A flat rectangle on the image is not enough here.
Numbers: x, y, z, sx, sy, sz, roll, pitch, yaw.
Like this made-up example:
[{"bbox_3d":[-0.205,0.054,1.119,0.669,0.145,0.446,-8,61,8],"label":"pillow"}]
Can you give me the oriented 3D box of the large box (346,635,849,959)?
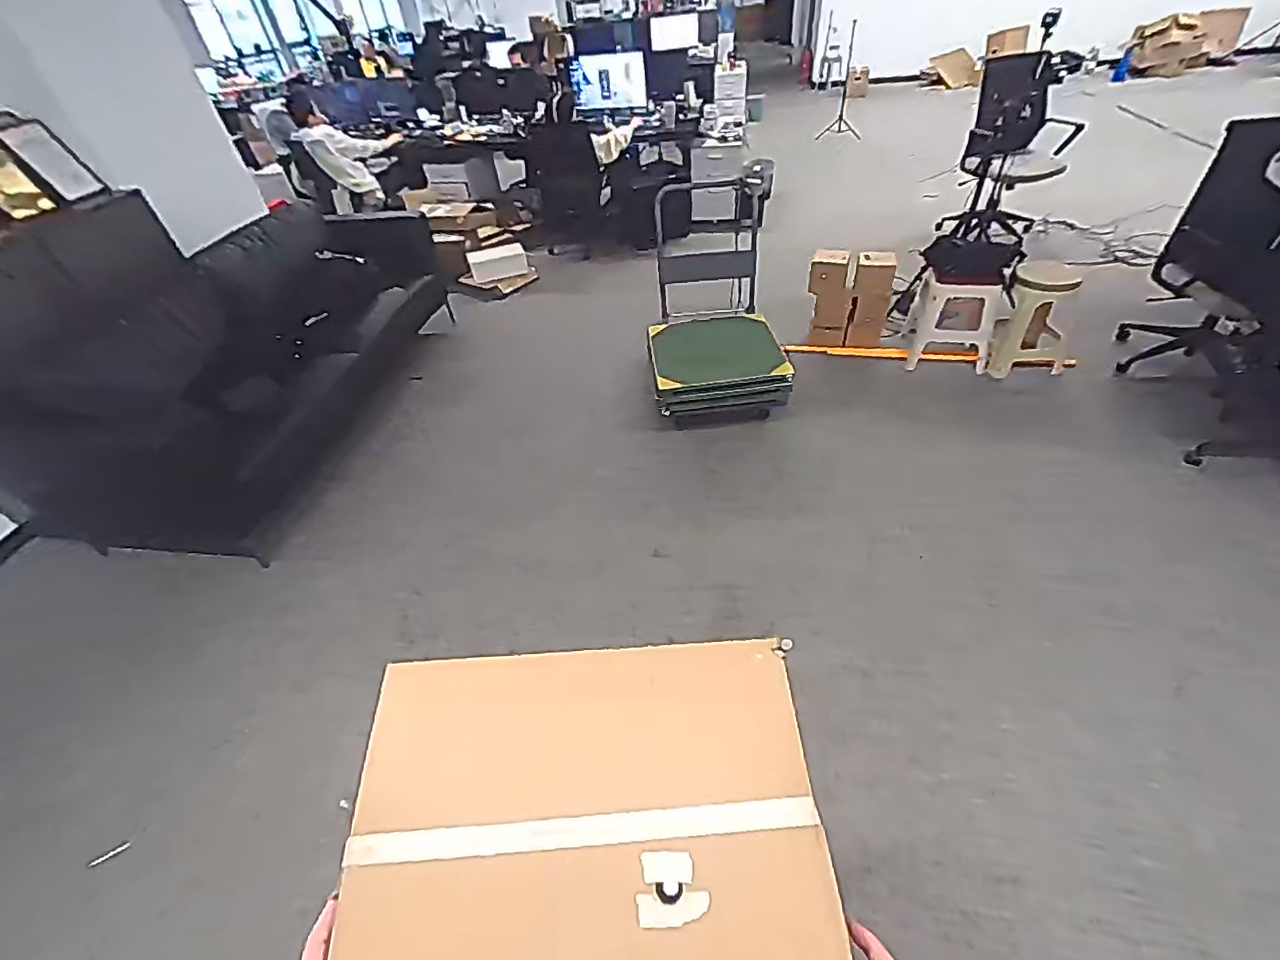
[{"bbox_3d":[-0.044,0.389,0.603,0.408,0.320,0.320,-3,55,-3],"label":"large box"}]
